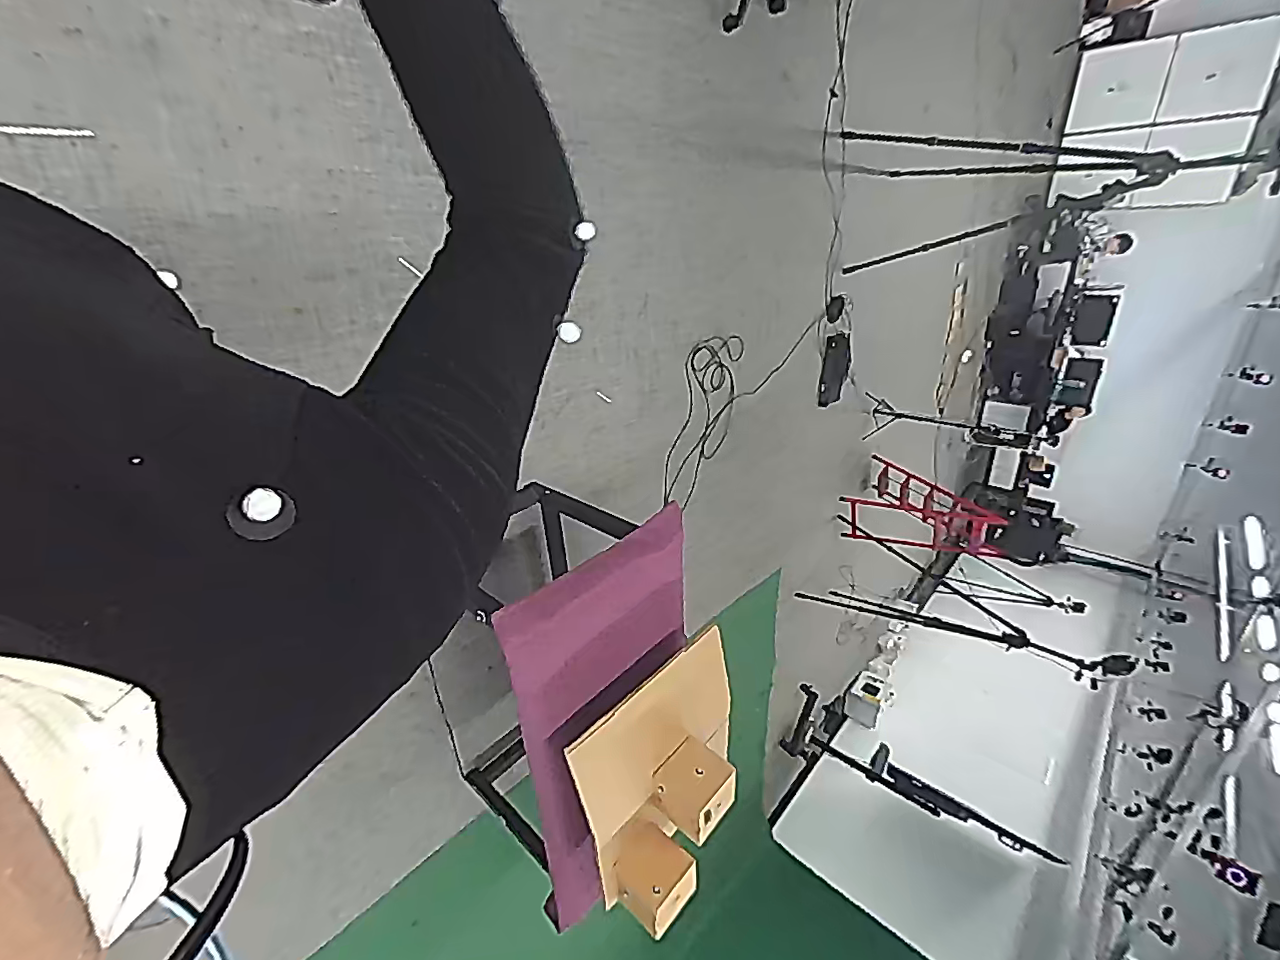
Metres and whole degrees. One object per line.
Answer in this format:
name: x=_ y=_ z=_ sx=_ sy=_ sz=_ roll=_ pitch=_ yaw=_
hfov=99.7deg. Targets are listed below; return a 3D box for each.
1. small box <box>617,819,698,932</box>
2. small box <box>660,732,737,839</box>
small box: x=0.053 y=1.153 z=1.591 sx=0.179 sy=0.176 sz=0.168 roll=-29 pitch=128 yaw=-38
small box: x=0.169 y=0.898 z=1.603 sx=0.179 sy=0.176 sz=0.168 roll=-30 pitch=129 yaw=-39
